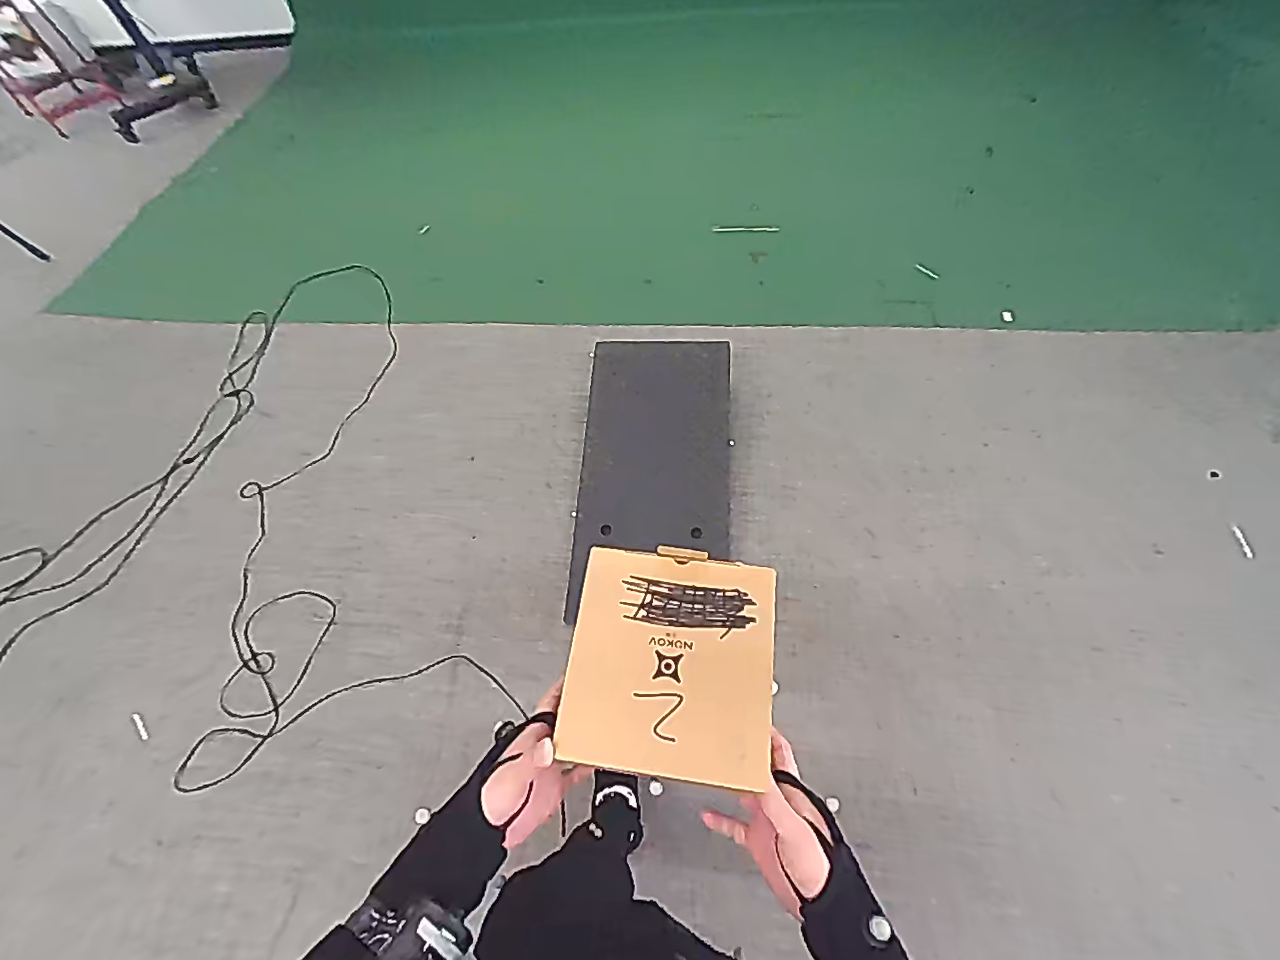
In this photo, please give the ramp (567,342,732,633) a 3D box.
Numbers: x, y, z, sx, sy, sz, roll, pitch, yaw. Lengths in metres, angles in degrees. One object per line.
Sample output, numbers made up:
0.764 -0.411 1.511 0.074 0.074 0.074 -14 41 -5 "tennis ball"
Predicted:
0.055 -0.025 1.764 0.509 0.206 0.991 1 58 5 "ramp"
